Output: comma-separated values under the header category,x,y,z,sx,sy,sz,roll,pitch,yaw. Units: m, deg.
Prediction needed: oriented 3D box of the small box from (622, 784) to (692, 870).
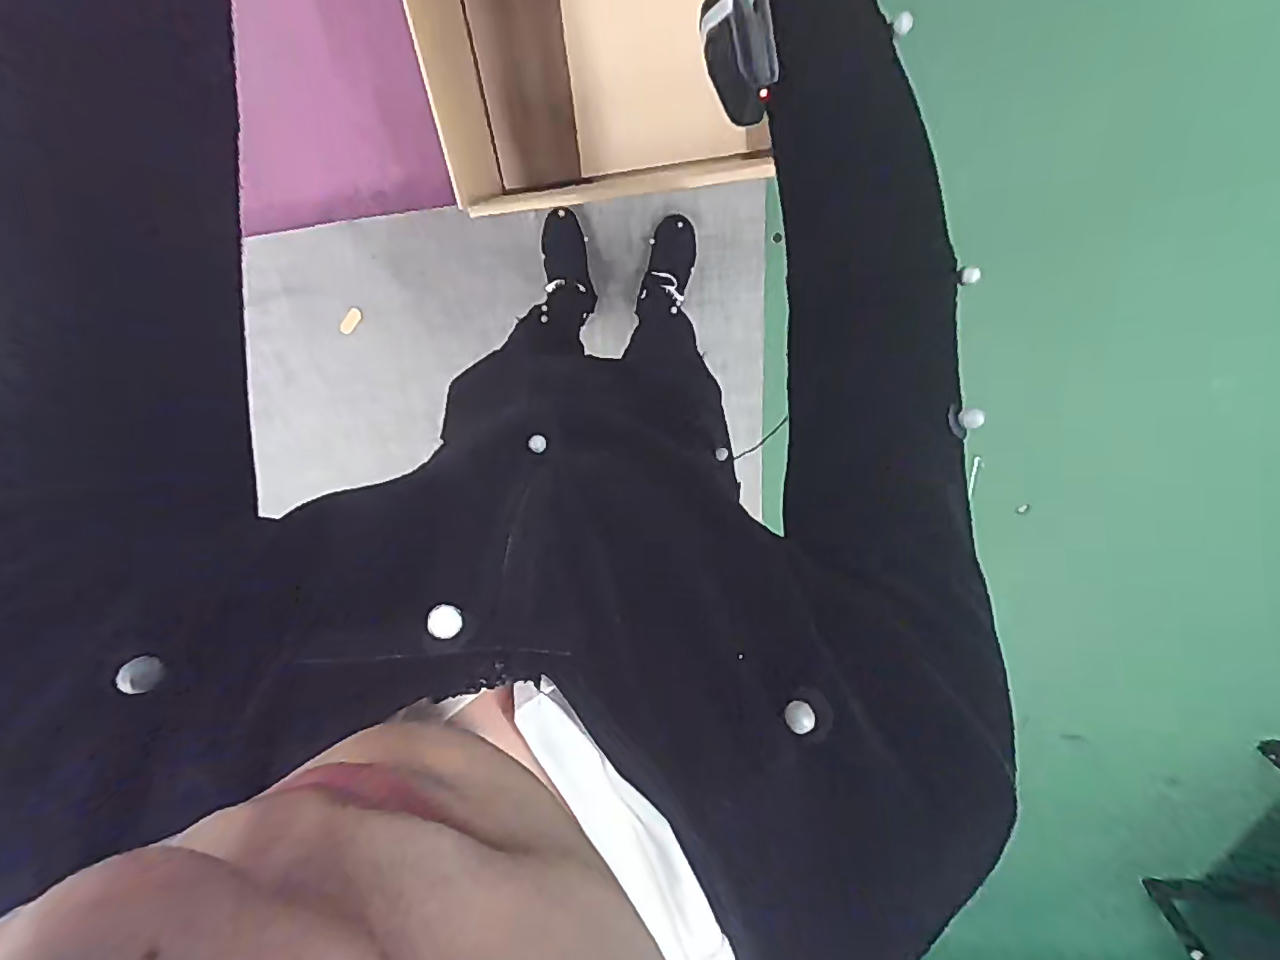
category,x,y,z,sx,sy,sz,roll,pitch,yaw
small box,0.061,1.155,1.804,0.179,0.176,0.168,-30,115,18
